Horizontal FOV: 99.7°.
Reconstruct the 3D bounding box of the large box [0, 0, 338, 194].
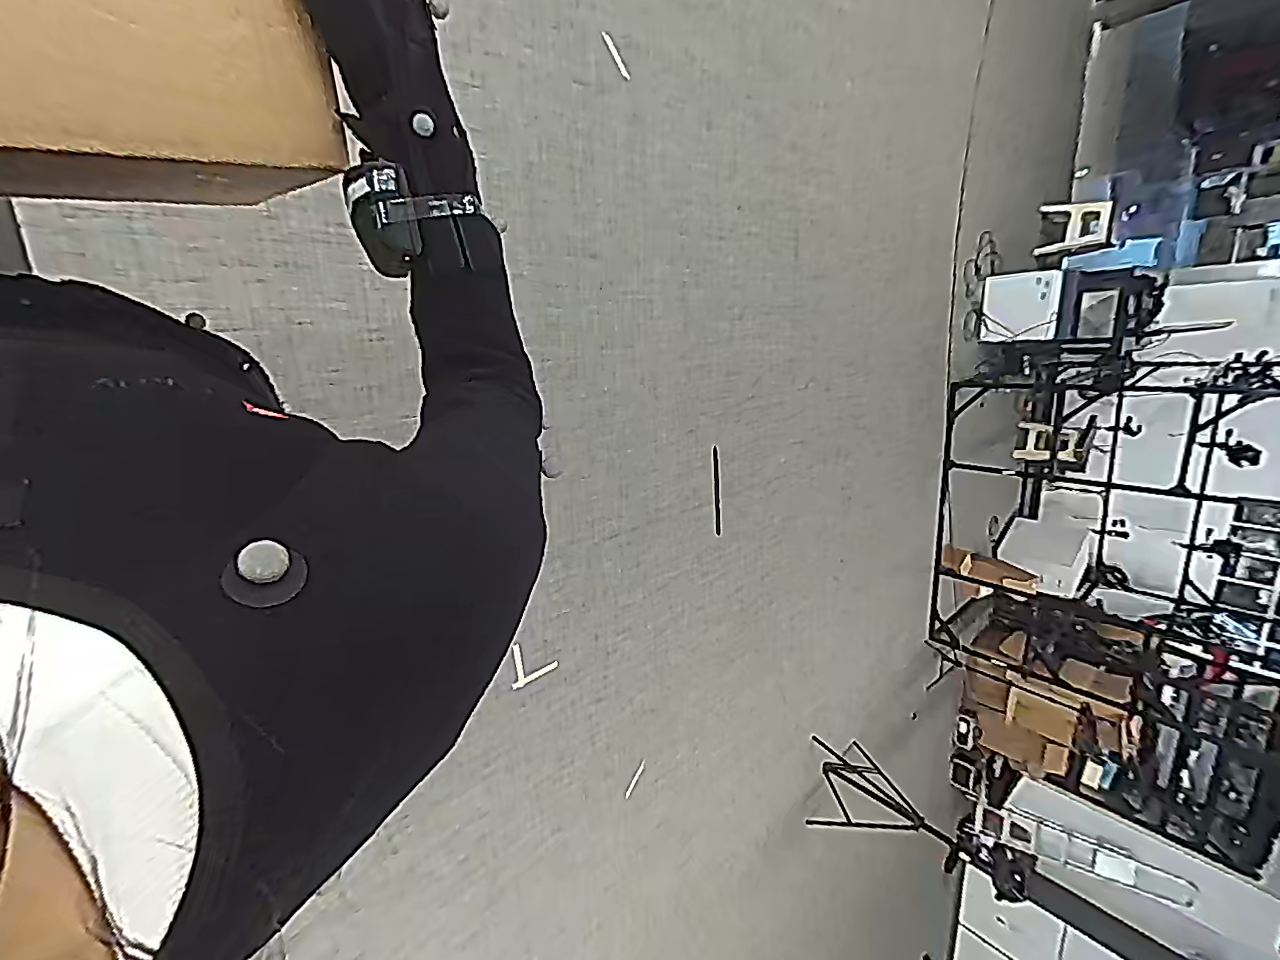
[{"bbox_3d":[-0.459,-0.342,0.289,0.408,0.320,0.320,-22,122,-40],"label":"large box"}]
